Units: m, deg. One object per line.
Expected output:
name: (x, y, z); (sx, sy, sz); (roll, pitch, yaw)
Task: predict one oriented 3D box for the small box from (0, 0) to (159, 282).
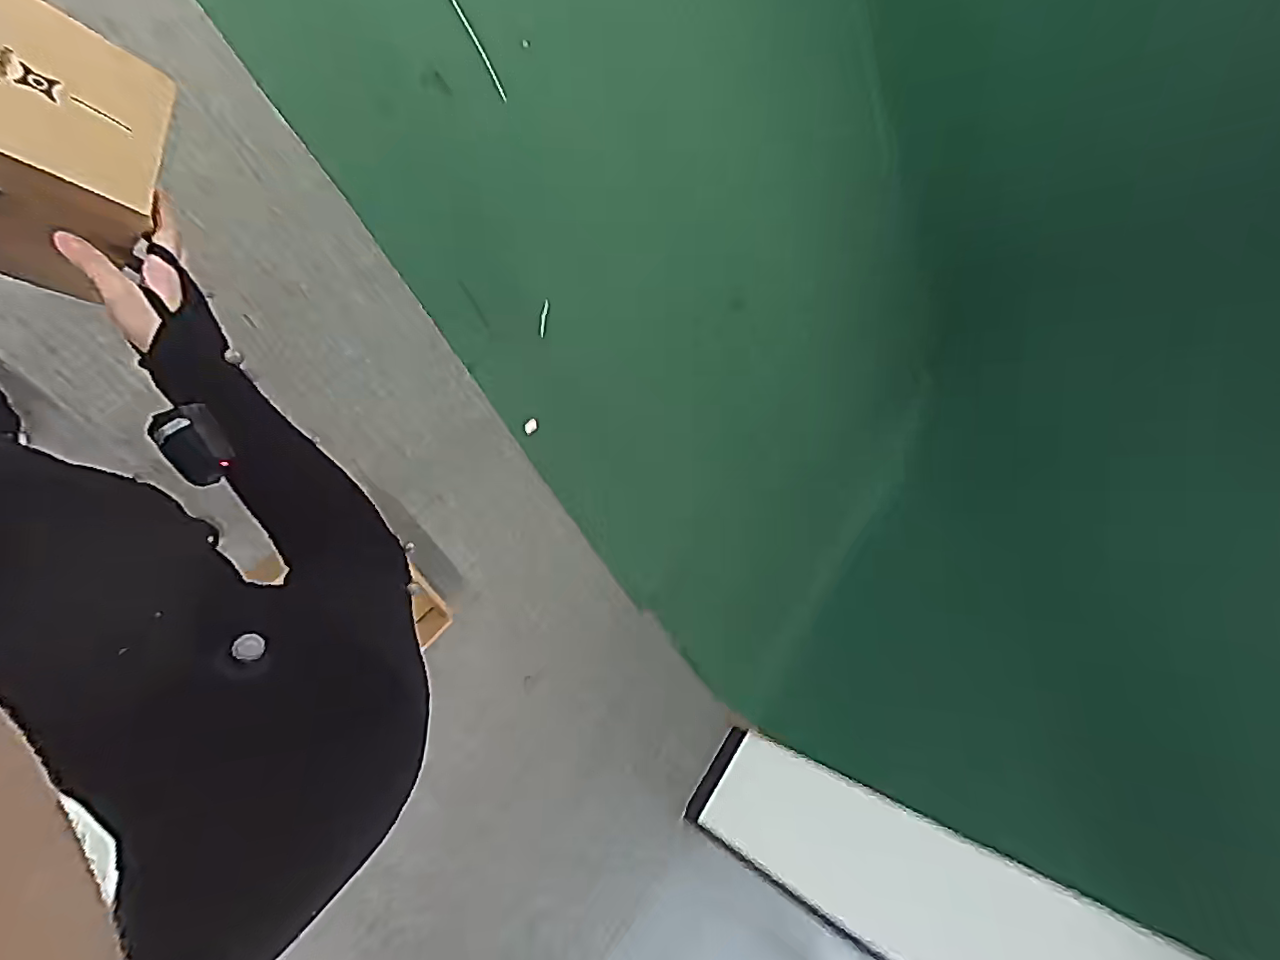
small box: (-0.552, -0.300, 0.455); (0.179, 0.176, 0.168); (16, 60, -51)
